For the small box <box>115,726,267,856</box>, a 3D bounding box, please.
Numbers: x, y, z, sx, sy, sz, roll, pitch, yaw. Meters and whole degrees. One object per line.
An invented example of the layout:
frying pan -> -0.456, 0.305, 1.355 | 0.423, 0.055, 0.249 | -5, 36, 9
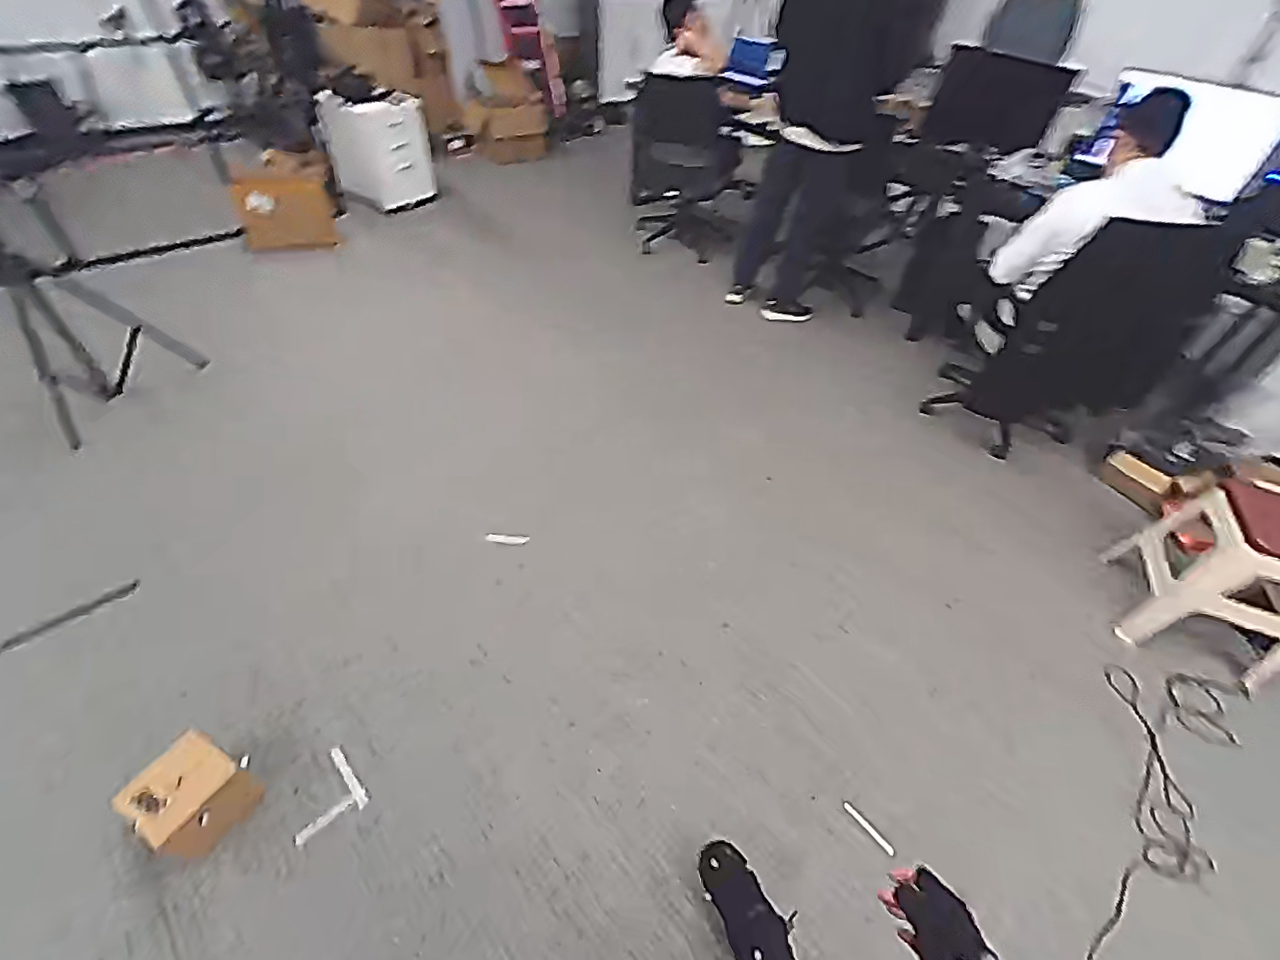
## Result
small box -> -0.998, 0.704, 1.219 | 0.168, 0.176, 0.179 | 25, 48, 18
